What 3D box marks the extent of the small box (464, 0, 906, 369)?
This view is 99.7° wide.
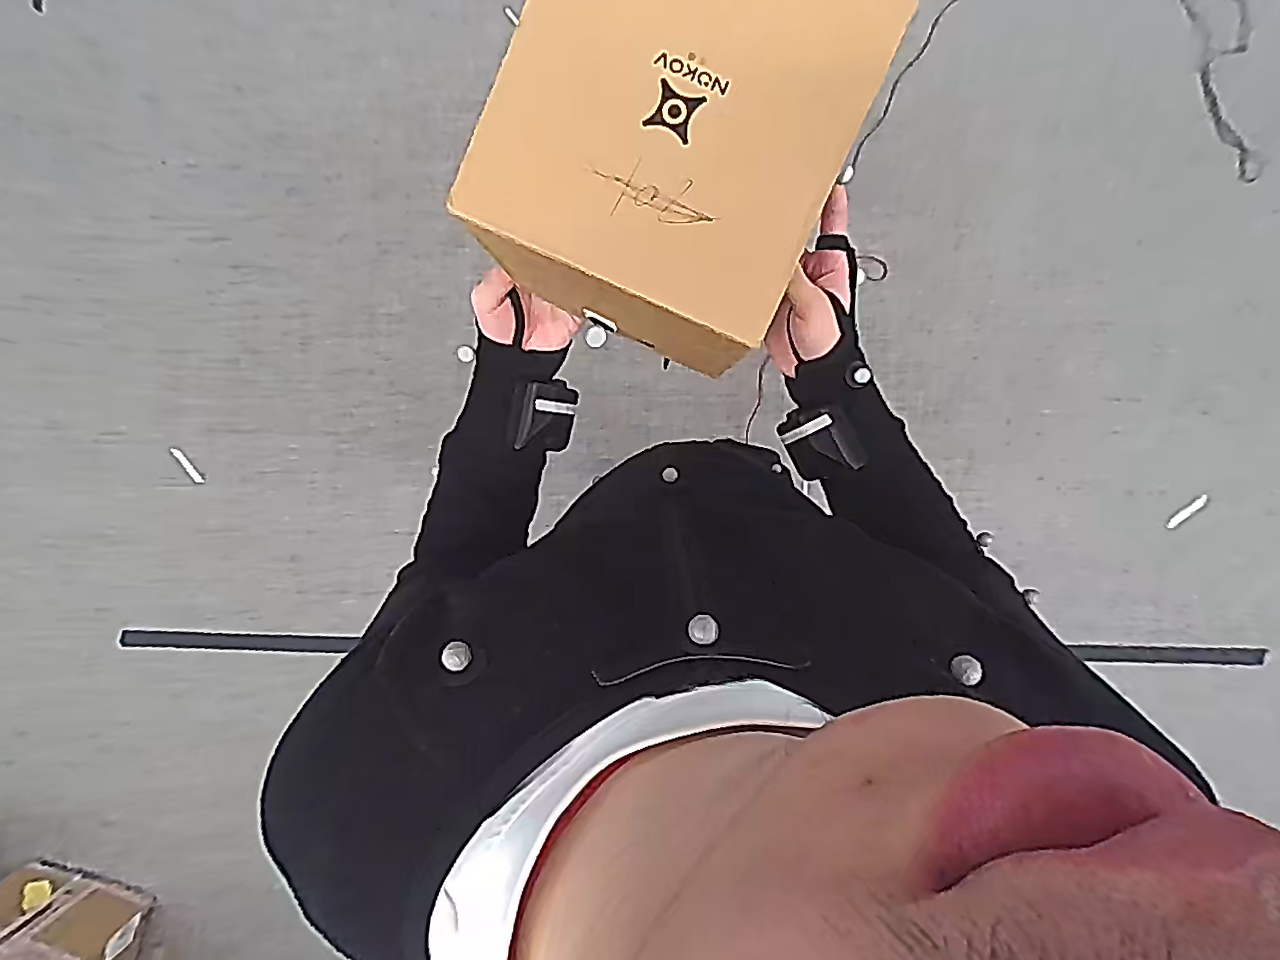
[{"bbox_3d":[0.021,-0.186,0.340,0.168,0.176,0.179,24,96,0],"label":"small box"}]
